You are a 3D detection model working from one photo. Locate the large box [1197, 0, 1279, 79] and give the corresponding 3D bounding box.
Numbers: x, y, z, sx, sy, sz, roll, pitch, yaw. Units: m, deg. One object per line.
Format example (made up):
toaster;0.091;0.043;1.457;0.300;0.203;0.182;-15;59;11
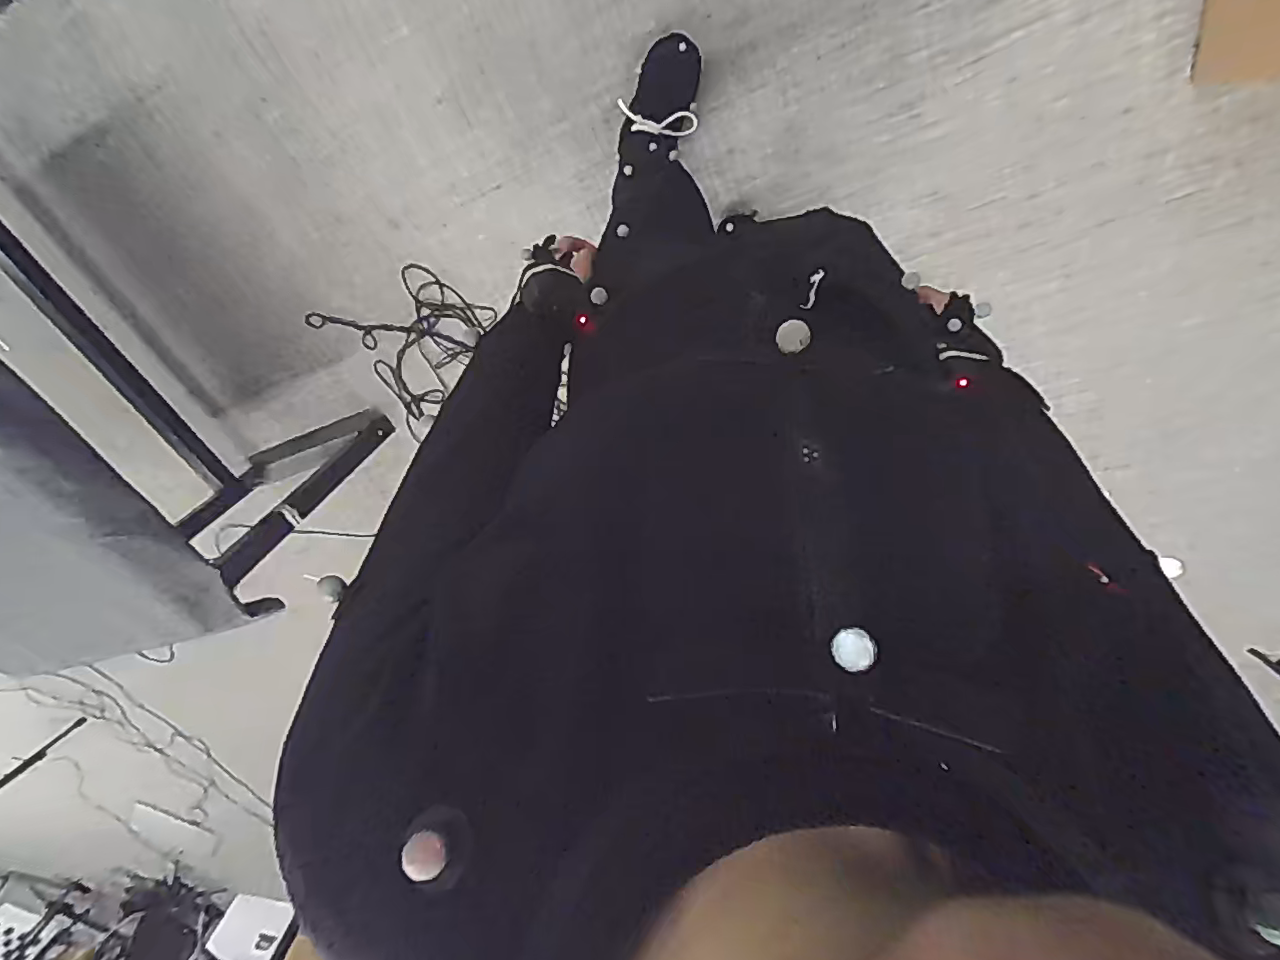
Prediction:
large box;1.007;-0.786;0.662;0.320;0.320;0.408;-11;123;17
